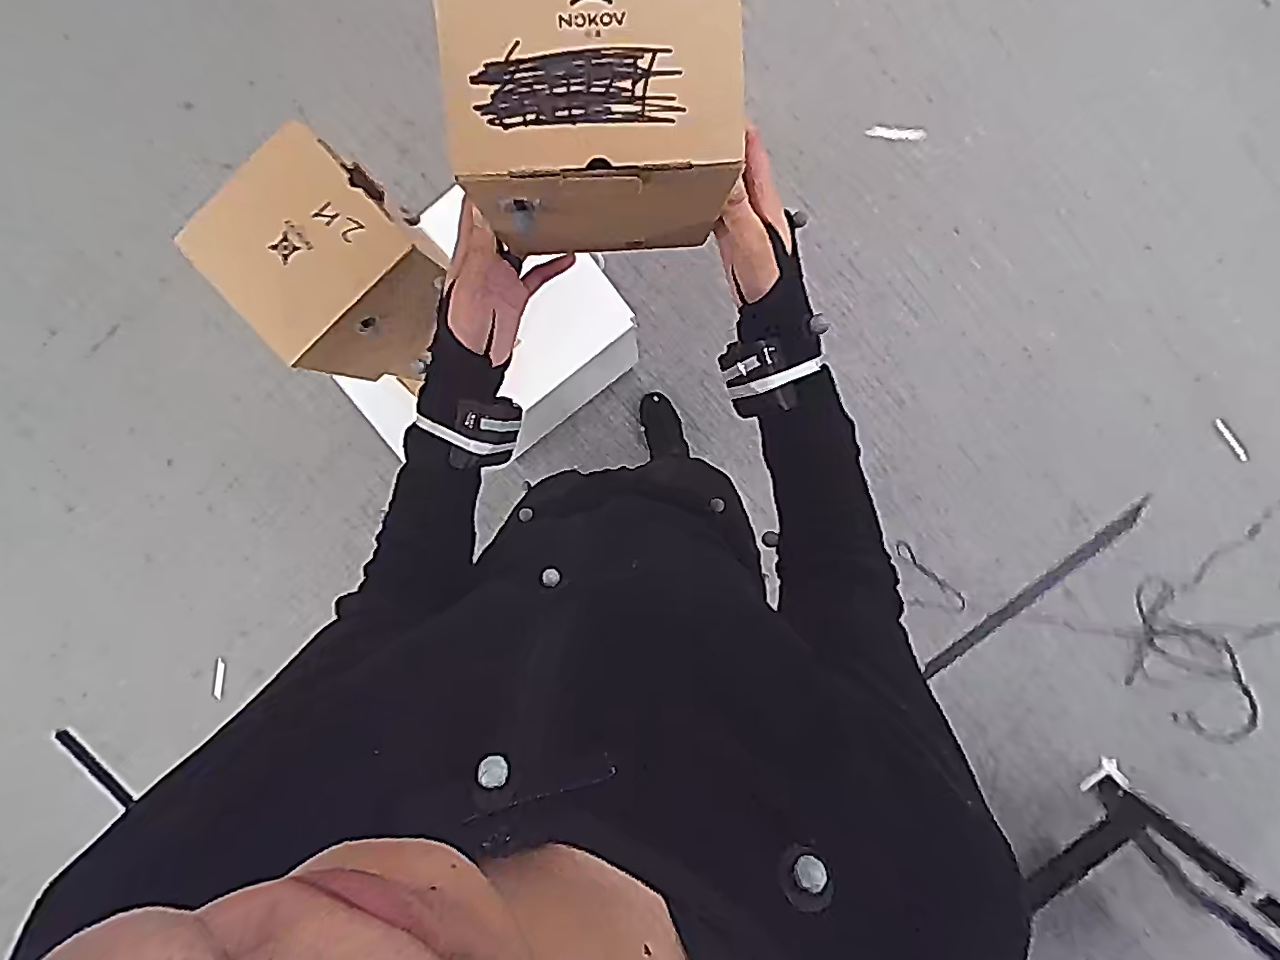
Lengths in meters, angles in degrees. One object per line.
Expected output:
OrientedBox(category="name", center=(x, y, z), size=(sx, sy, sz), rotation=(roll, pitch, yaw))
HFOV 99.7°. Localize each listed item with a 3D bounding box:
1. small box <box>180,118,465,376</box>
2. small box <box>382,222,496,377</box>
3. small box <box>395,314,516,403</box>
OrientedBox(category="small box", center=(-0.330, -0.235, 0.602), size=(0.179, 0.176, 0.168), rotation=(-42, 93, 4))
OrientedBox(category="small box", center=(-0.334, -0.262, 0.766), size=(0.168, 0.176, 0.179), rotation=(-45, 92, 4))
OrientedBox(category="small box", center=(-0.340, -0.247, 0.930), size=(0.168, 0.176, 0.179), rotation=(44, 94, -3))
